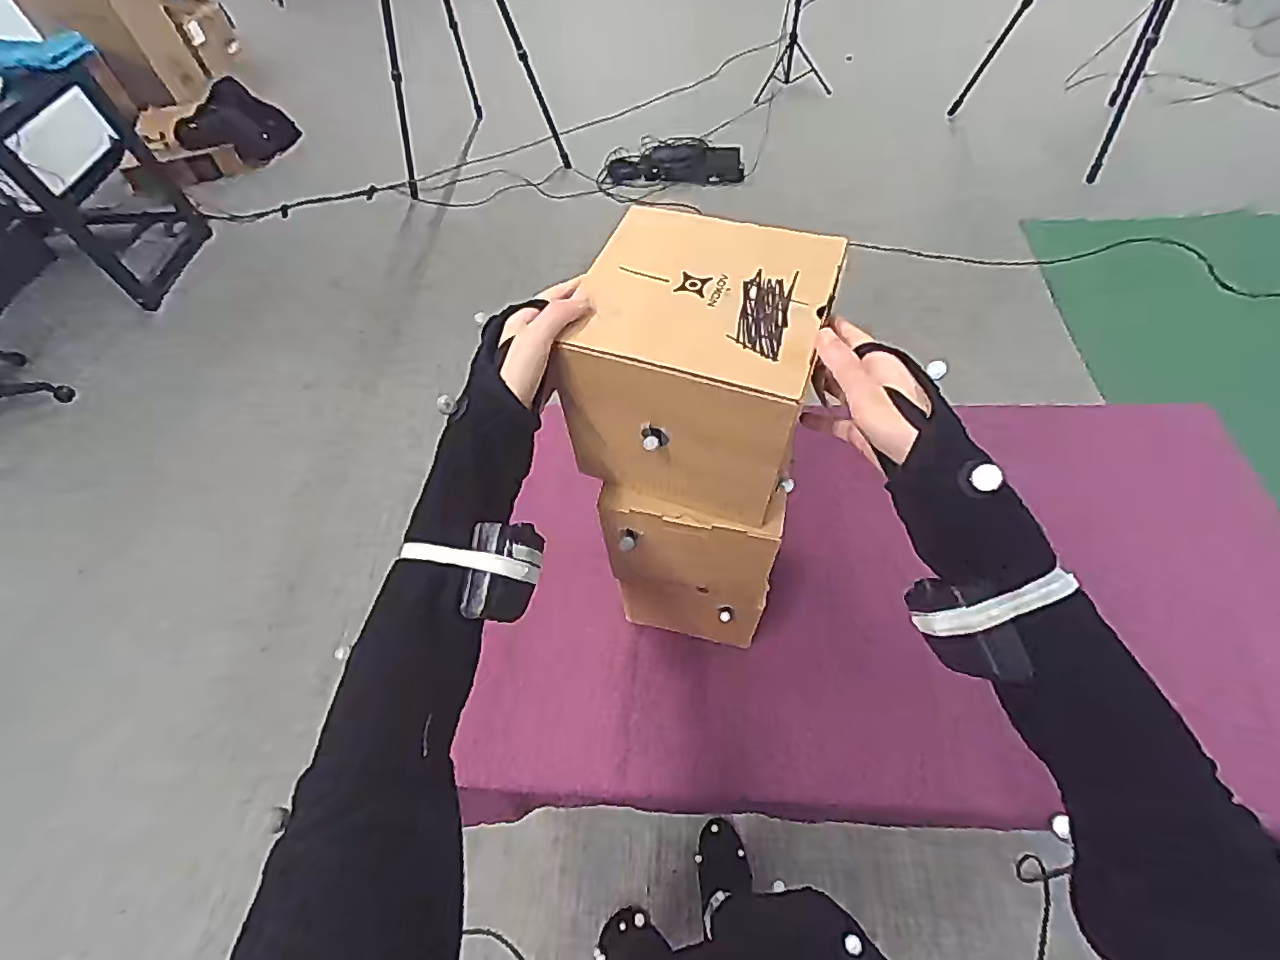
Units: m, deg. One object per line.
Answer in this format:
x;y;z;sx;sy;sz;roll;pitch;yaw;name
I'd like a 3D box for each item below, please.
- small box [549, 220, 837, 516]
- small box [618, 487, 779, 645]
0.049;-0.089;0.466;0.179;0.176;0.168;15;59;14;small box
0.080;0.108;0.731;0.179;0.176;0.168;10;57;10;small box
